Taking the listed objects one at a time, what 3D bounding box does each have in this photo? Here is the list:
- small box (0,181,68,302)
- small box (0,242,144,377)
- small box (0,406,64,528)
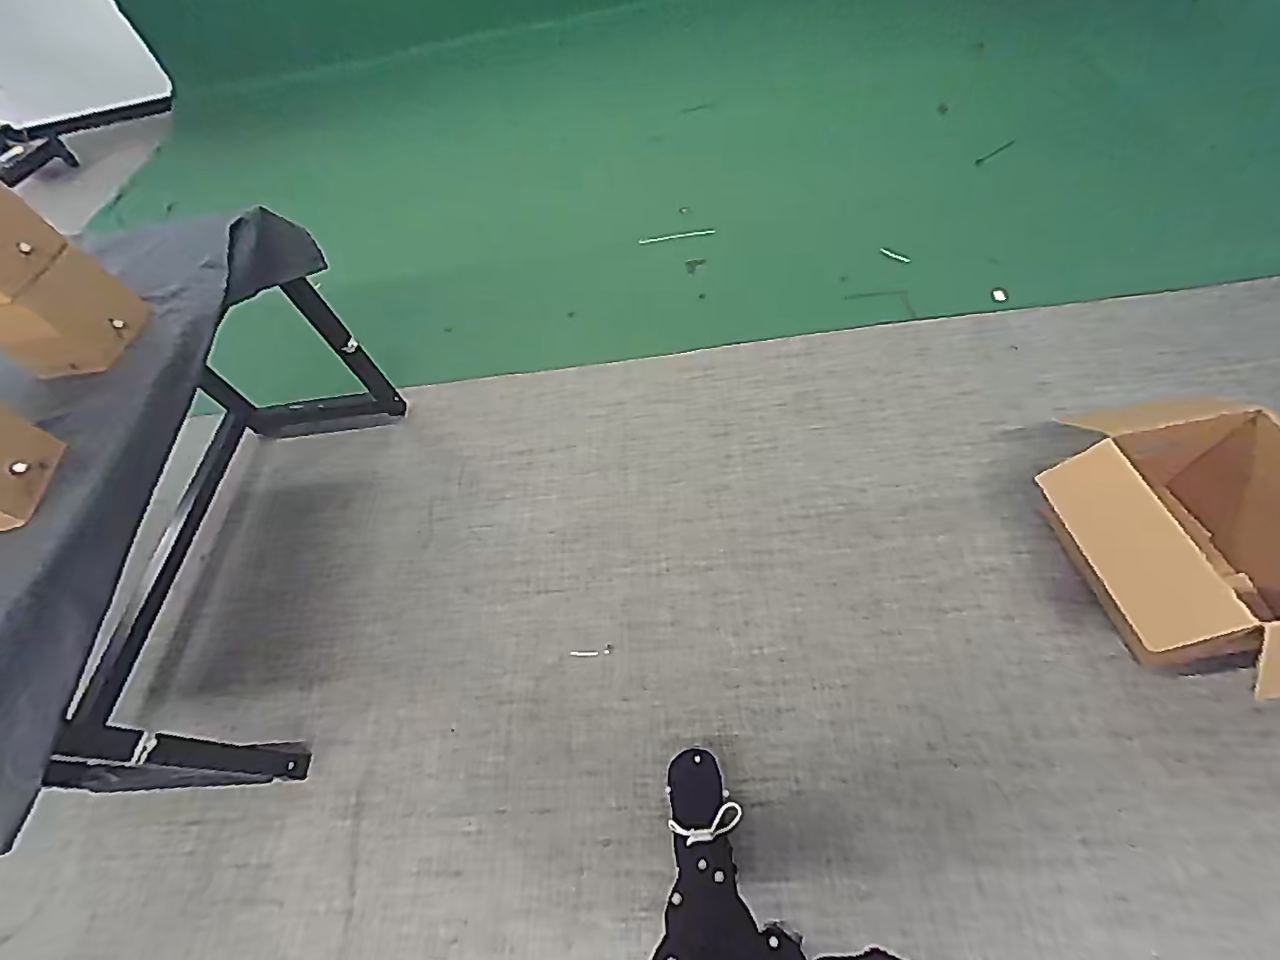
[{"bbox_3d":[-1.148,-0.410,0.895,0.168,0.176,0.179,-4,57,8],"label":"small box"},{"bbox_3d":[-1.120,-0.322,1.036,0.168,0.176,0.179,-5,56,7],"label":"small box"},{"bbox_3d":[-1.082,-0.021,0.834,0.179,0.176,0.168,-14,56,1],"label":"small box"}]
